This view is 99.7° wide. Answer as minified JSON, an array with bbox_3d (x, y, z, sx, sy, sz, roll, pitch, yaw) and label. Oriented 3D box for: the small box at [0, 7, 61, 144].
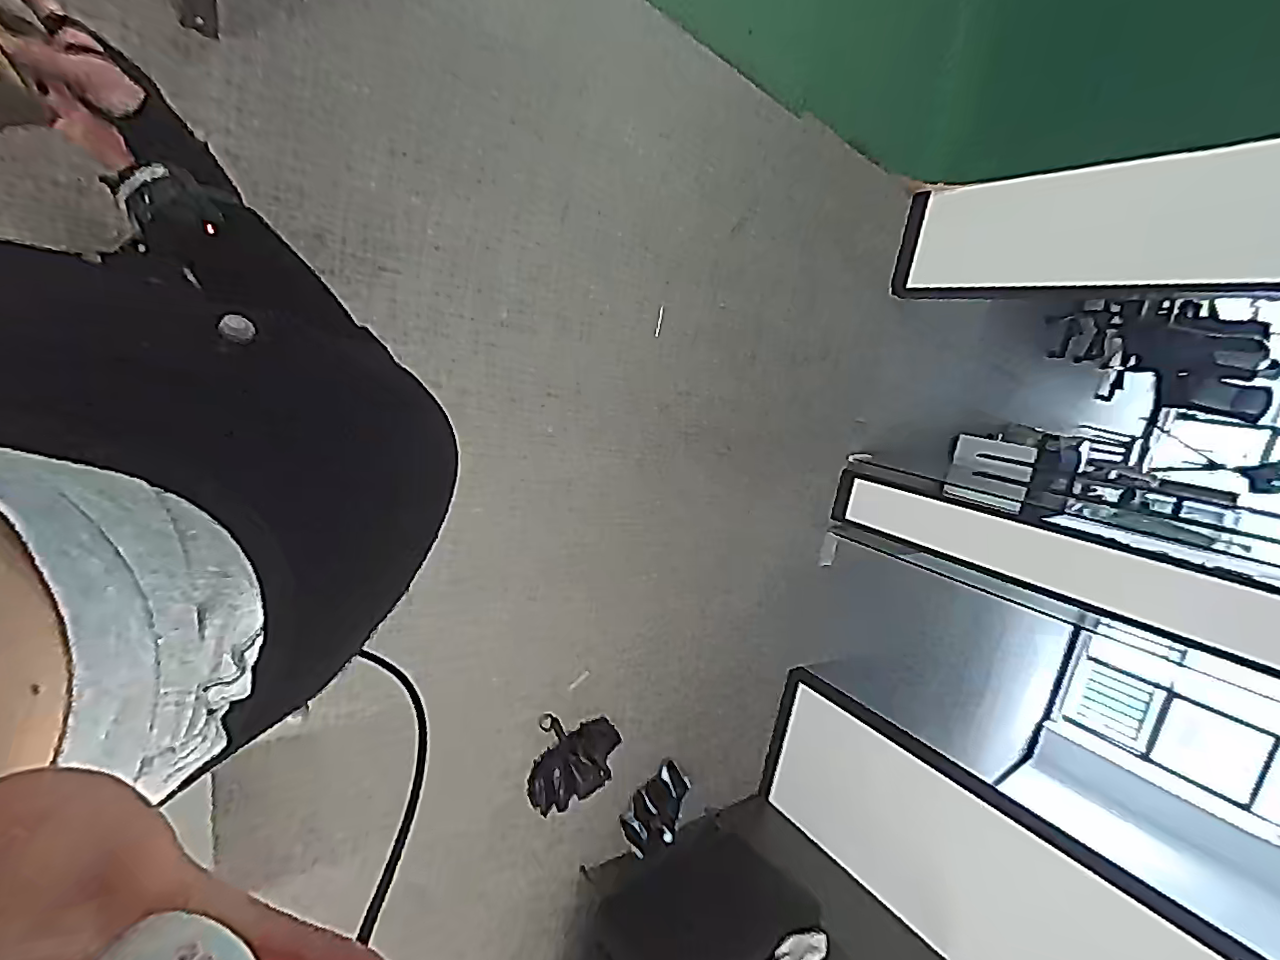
[{"bbox_3d":[-0.507,-0.309,0.315,0.168,0.176,0.179,-28,122,-28],"label":"small box"}]
